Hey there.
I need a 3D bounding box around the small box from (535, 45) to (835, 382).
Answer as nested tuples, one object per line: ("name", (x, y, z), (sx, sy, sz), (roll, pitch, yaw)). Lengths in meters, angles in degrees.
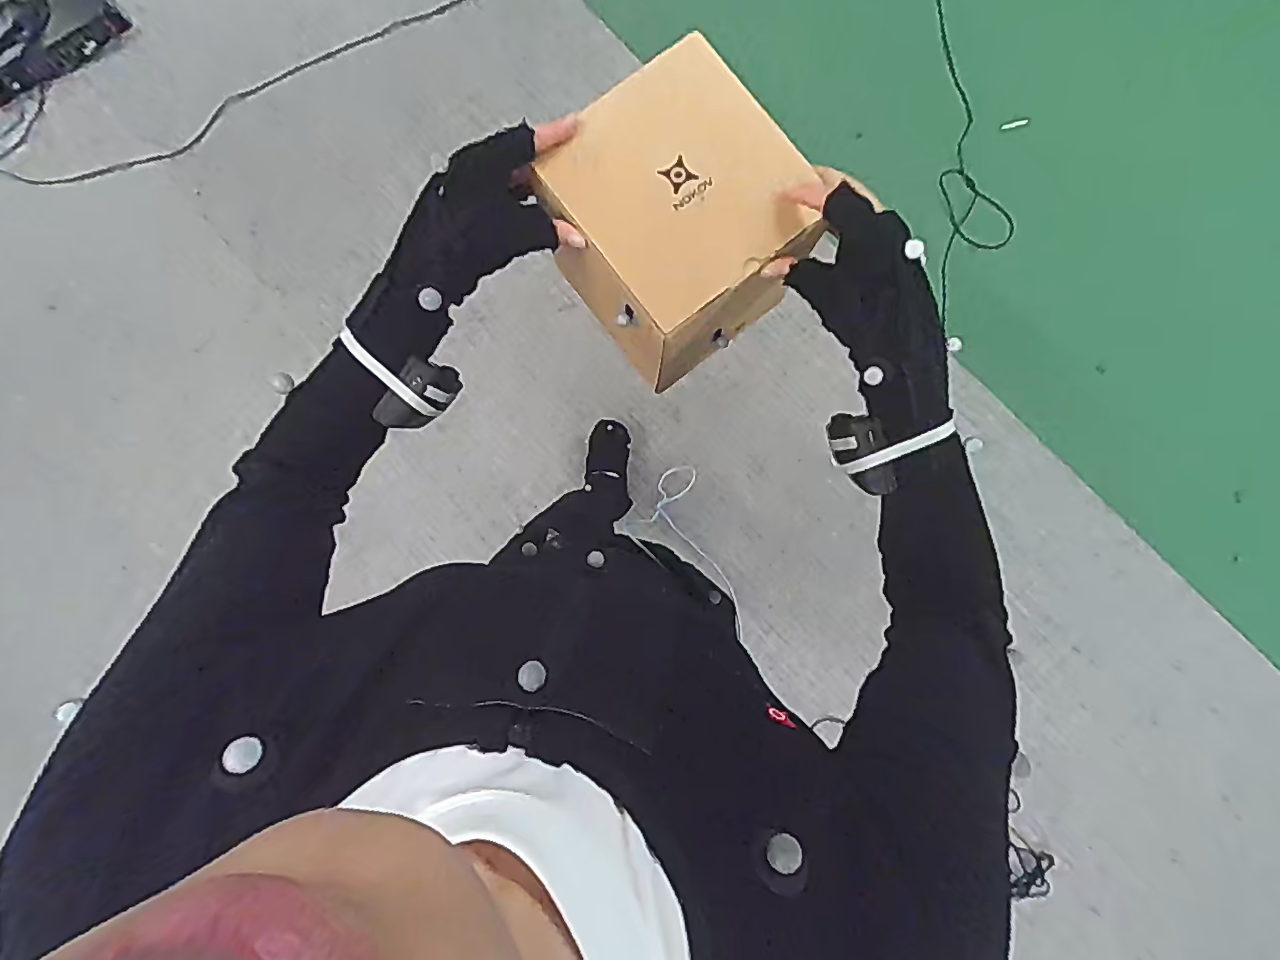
("small box", (0.031, -0.217, 0.488), (0.168, 0.176, 0.179), (-37, 87, -4))
